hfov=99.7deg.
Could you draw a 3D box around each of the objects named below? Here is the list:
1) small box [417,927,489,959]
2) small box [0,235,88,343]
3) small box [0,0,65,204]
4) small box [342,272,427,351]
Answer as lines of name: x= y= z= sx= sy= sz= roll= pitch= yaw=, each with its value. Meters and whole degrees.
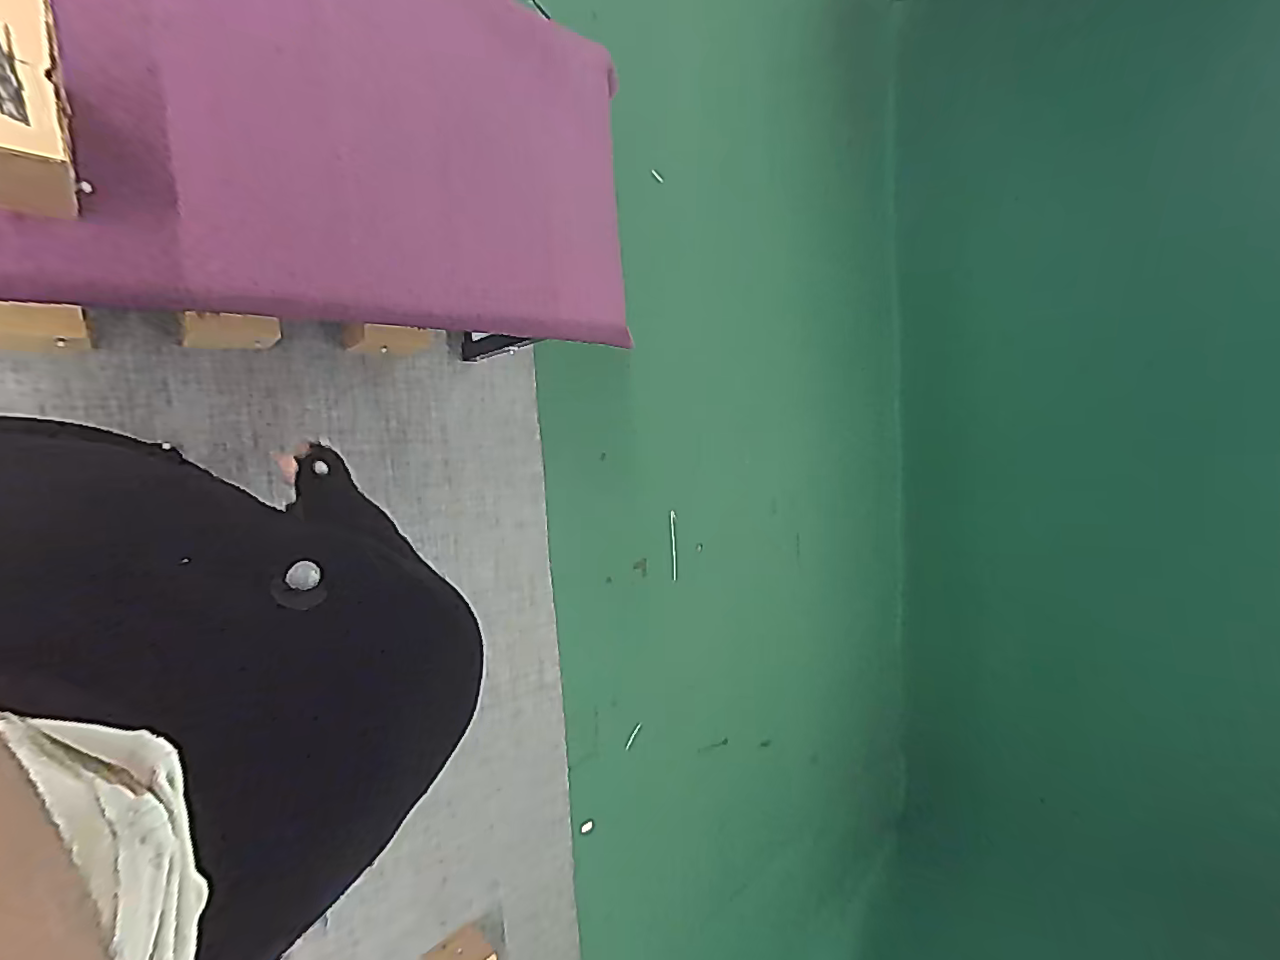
small box: x=-0.579 y=1.554 z=1.684 sx=0.168 sy=0.176 sz=0.179 roll=-9 pitch=98 yaw=-42
small box: x=-1.202 y=-0.362 z=1.037 sx=0.179 sy=0.176 sz=0.168 roll=-10 pitch=98 yaw=-43
small box: x=-0.688 y=-0.391 z=0.518 sx=0.179 sy=0.176 sz=0.168 roll=-6 pitch=94 yaw=-42
small box: x=-0.708 y=-0.455 z=1.492 sx=0.179 sy=0.176 sz=0.168 roll=-5 pitch=95 yaw=-42
